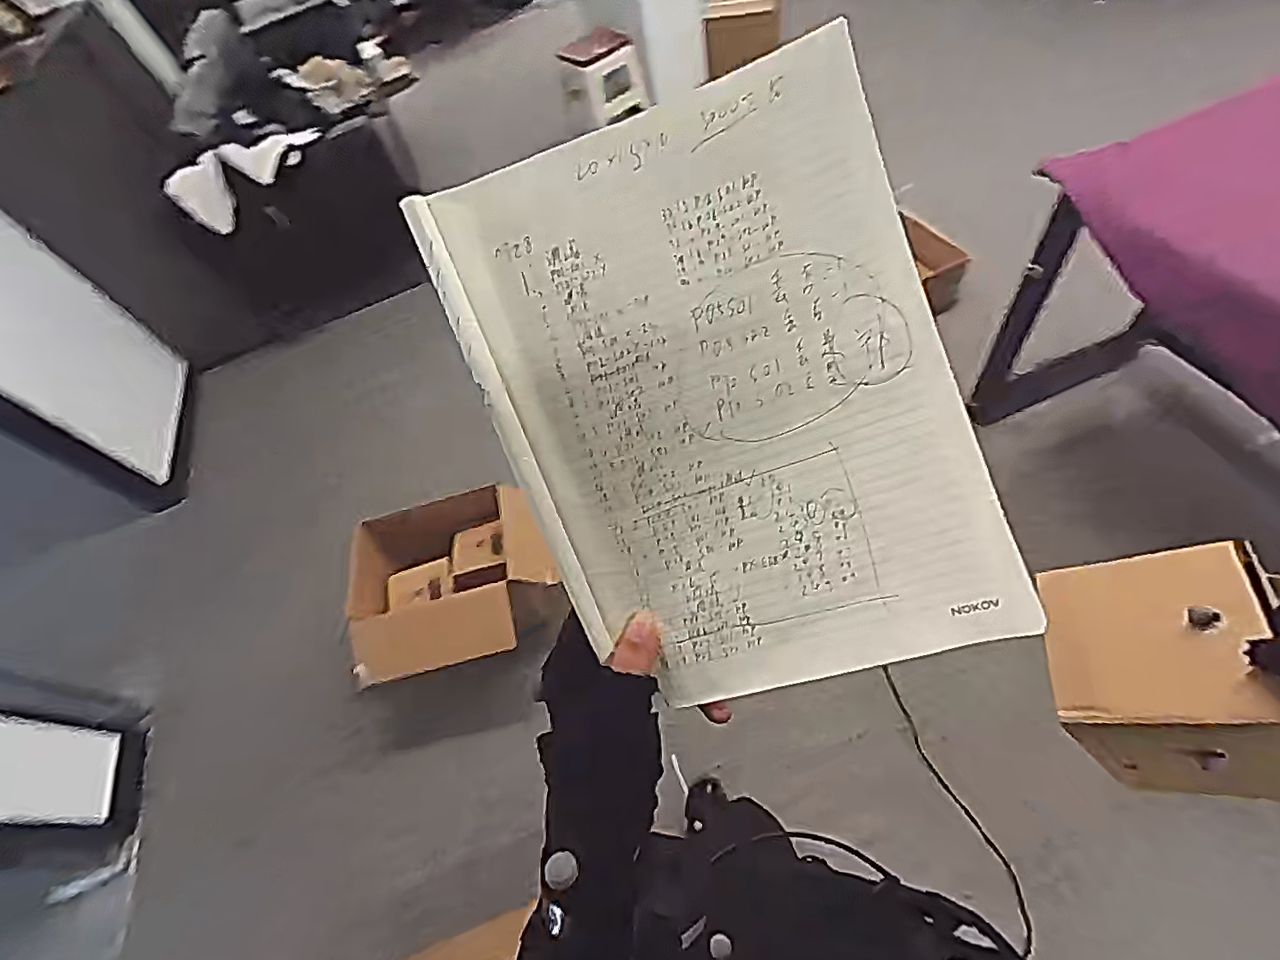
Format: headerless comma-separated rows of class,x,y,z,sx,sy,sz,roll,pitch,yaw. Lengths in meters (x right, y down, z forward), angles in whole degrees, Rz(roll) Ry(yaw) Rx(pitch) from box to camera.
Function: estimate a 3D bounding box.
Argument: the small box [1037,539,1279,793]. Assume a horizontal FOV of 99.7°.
small box,0.534,0.192,0.539,0.176,0.168,0.179,-29,28,46
